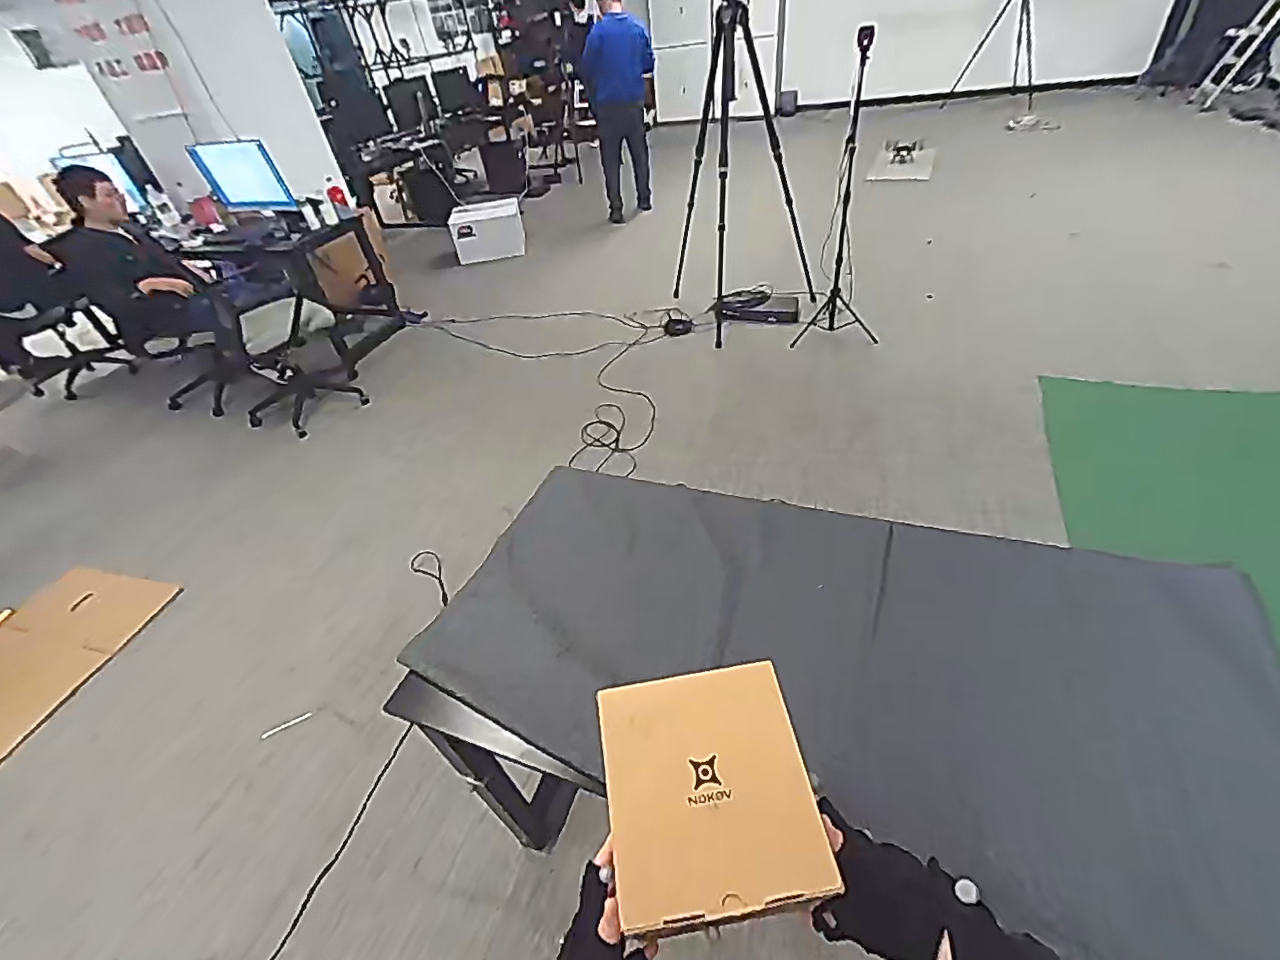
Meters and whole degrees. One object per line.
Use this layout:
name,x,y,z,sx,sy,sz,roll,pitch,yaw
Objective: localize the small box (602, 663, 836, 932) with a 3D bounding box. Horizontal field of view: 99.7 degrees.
small box,0.058,0.301,0.512,0.168,0.176,0.179,-9,49,-3
